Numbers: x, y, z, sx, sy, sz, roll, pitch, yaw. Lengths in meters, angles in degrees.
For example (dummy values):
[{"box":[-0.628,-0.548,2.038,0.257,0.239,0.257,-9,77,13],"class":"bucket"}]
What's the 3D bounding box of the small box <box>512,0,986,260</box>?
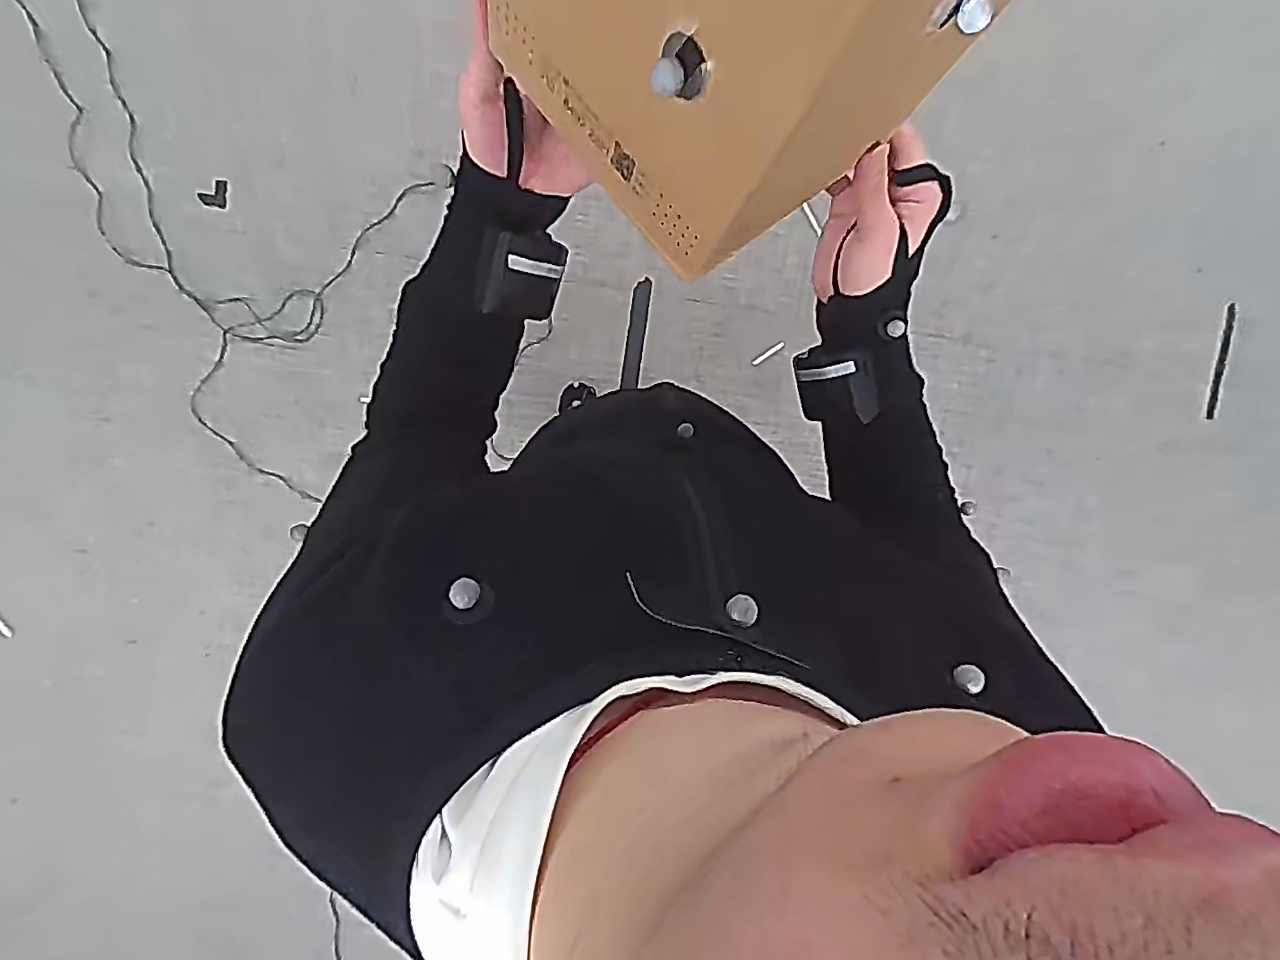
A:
[{"box":[0.055,-0.239,0.245,0.179,0.176,0.168,-40,92,-20],"class":"small box"}]
